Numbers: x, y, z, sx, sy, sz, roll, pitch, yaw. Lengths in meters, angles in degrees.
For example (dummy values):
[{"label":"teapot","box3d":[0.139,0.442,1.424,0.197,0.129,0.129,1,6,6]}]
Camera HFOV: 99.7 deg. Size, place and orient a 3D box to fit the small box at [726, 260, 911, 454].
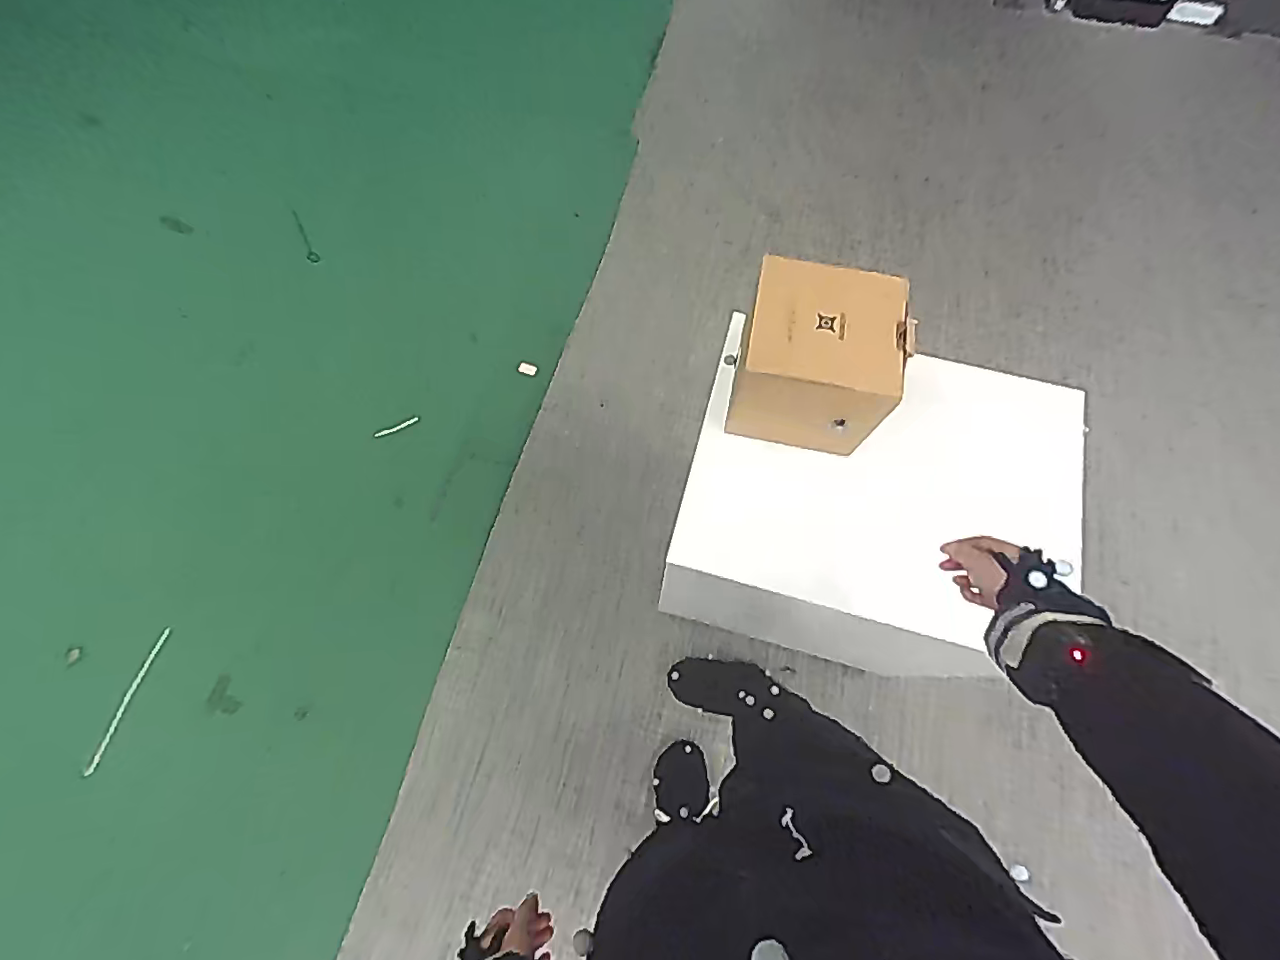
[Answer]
[{"label":"small box","box3d":[0.218,-0.146,0.689,0.179,0.176,0.168,11,70,5]}]
